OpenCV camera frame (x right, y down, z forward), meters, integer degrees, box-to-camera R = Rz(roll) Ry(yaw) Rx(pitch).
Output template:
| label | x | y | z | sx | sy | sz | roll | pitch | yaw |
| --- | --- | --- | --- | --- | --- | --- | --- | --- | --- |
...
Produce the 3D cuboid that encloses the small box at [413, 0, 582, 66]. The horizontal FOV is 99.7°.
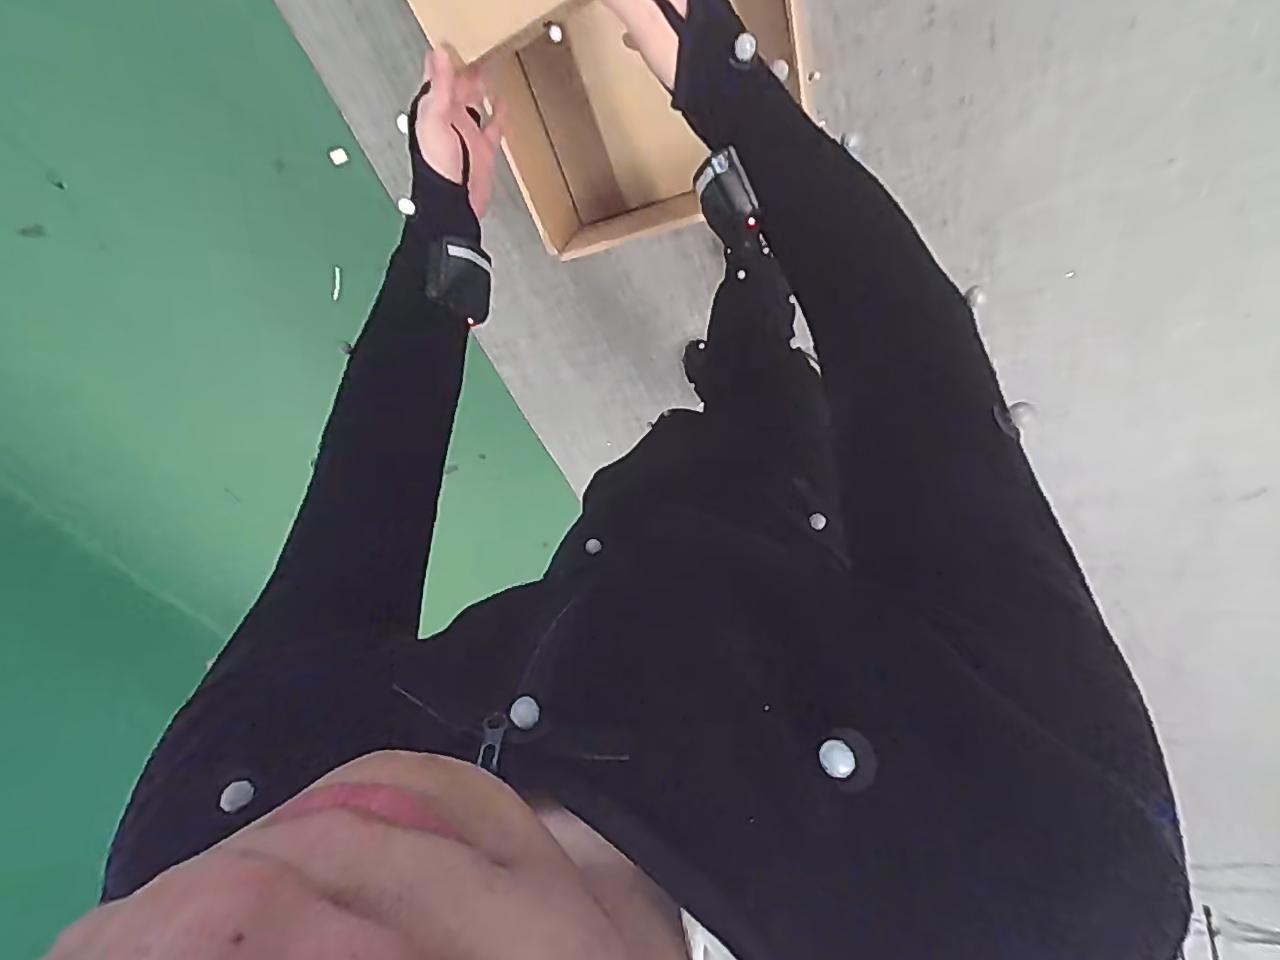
| label | x | y | z | sx | sy | sz | roll | pitch | yaw |
| --- | --- | --- | --- | --- | --- | --- | --- | --- | --- |
| small box | -0.101 | -0.478 | 0.430 | 0.179 | 0.176 | 0.168 | -7 | 132 | 27 |
